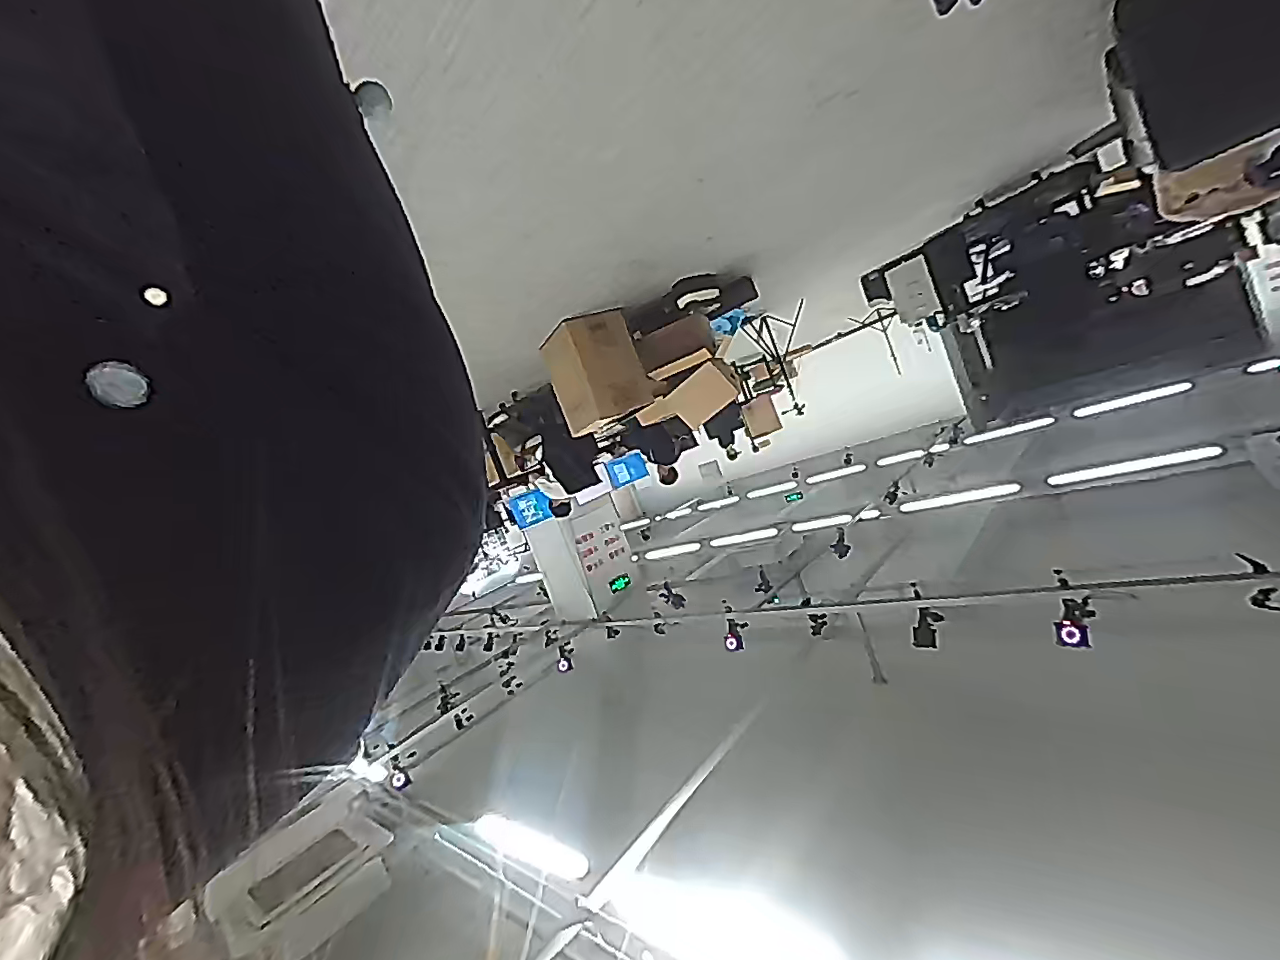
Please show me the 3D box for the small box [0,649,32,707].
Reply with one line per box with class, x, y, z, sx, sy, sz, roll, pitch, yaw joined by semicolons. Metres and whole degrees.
small box;-2.084;0.651;1.701;0.168;0.176;0.179;-17;-174;46
